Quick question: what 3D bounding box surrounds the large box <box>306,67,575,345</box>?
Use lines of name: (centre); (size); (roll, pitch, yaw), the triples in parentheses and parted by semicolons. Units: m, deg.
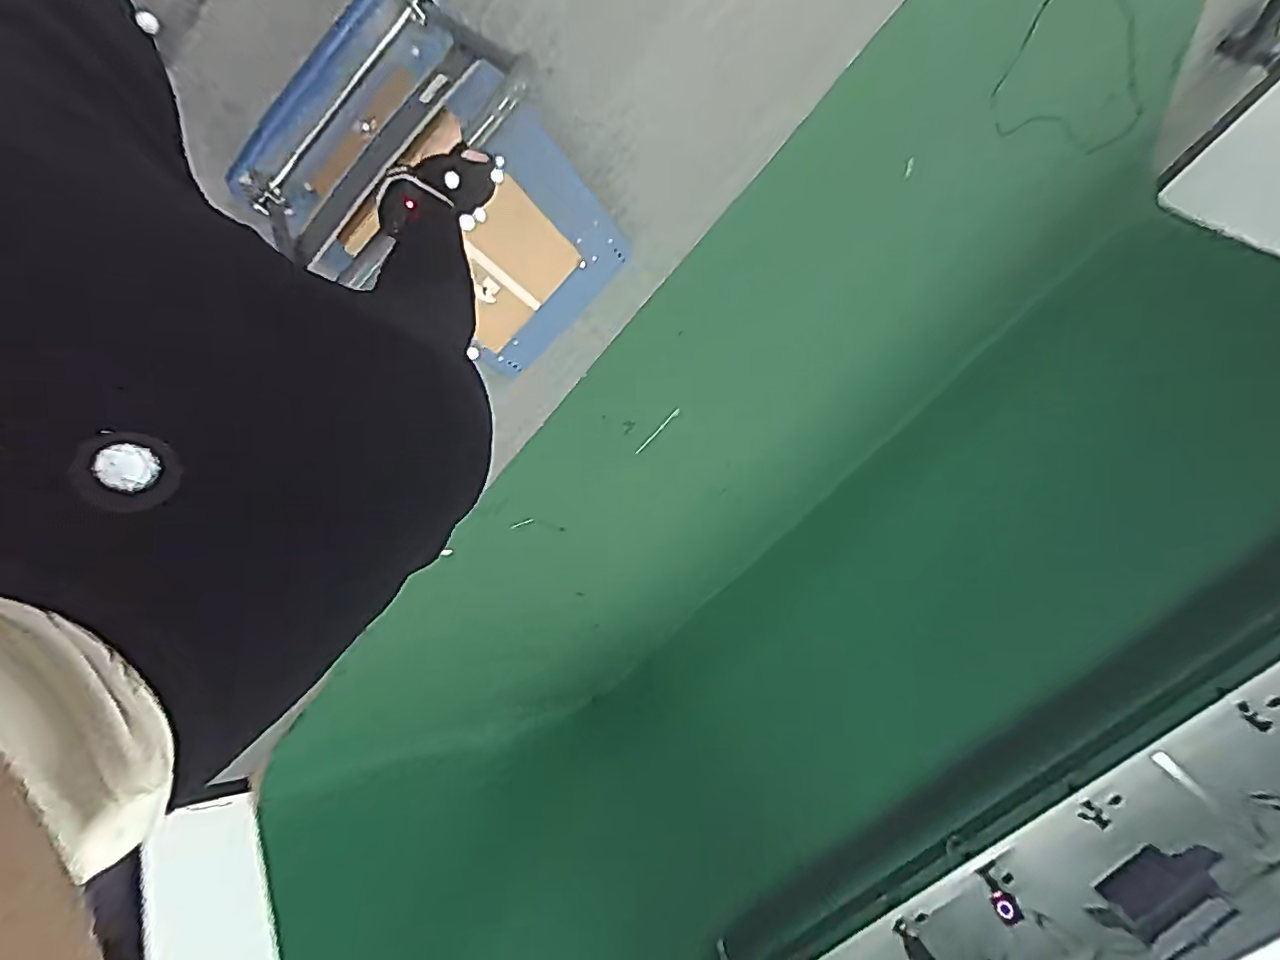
large box: (-0.430, -0.581, 1.196); (0.320, 0.320, 0.408); (-44, 148, 11)
